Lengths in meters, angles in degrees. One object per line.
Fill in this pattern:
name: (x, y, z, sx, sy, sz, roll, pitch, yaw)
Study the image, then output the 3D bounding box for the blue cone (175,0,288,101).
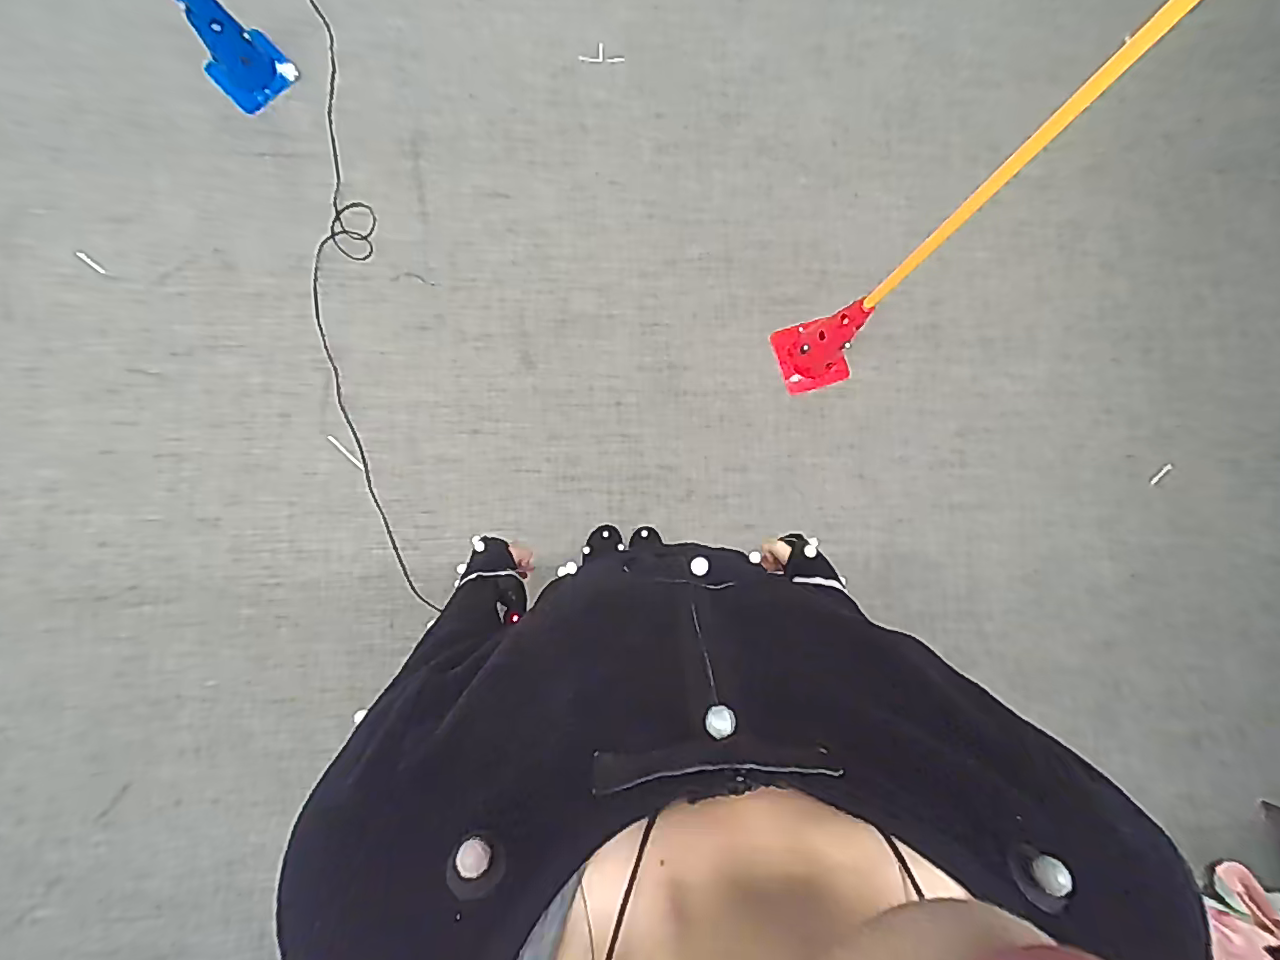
blue cone: (-1.113, -1.199, 1.376, 0.192, 0.380, 0.193, 44, 86, 0)
